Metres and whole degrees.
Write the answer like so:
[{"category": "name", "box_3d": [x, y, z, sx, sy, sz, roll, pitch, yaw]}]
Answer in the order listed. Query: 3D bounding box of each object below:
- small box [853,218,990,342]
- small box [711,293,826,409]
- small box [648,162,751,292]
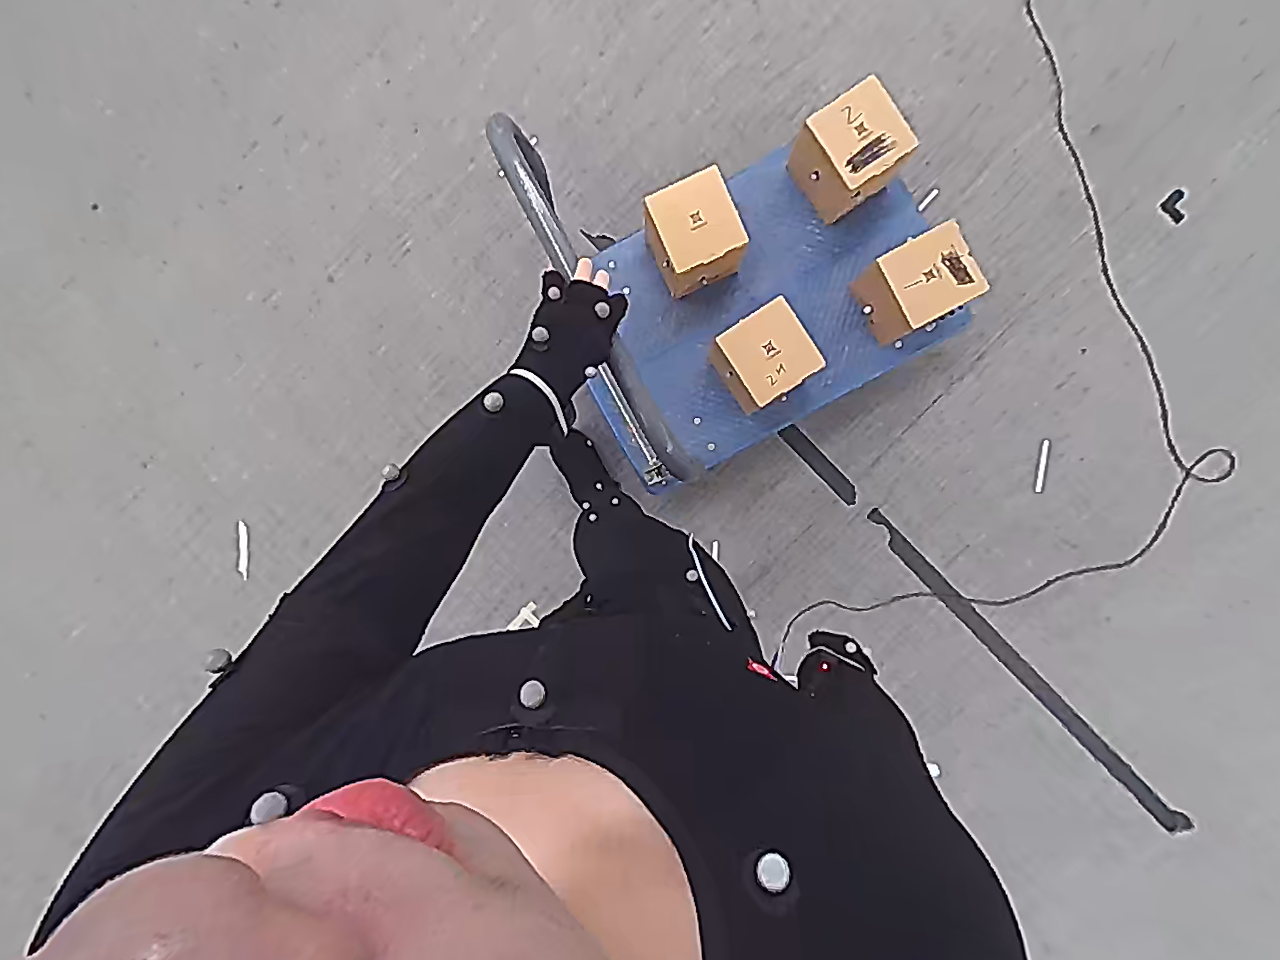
[{"category": "small box", "box_3d": [0.600, -0.424, 1.174, 0.179, 0.176, 0.168, -27, 91, 4]}, {"category": "small box", "box_3d": [0.272, -0.273, 1.189, 0.168, 0.176, 0.179, -32, 91, 3]}, {"category": "small box", "box_3d": [0.121, -0.544, 1.186, 0.168, 0.176, 0.179, -24, 93, 2]}]
